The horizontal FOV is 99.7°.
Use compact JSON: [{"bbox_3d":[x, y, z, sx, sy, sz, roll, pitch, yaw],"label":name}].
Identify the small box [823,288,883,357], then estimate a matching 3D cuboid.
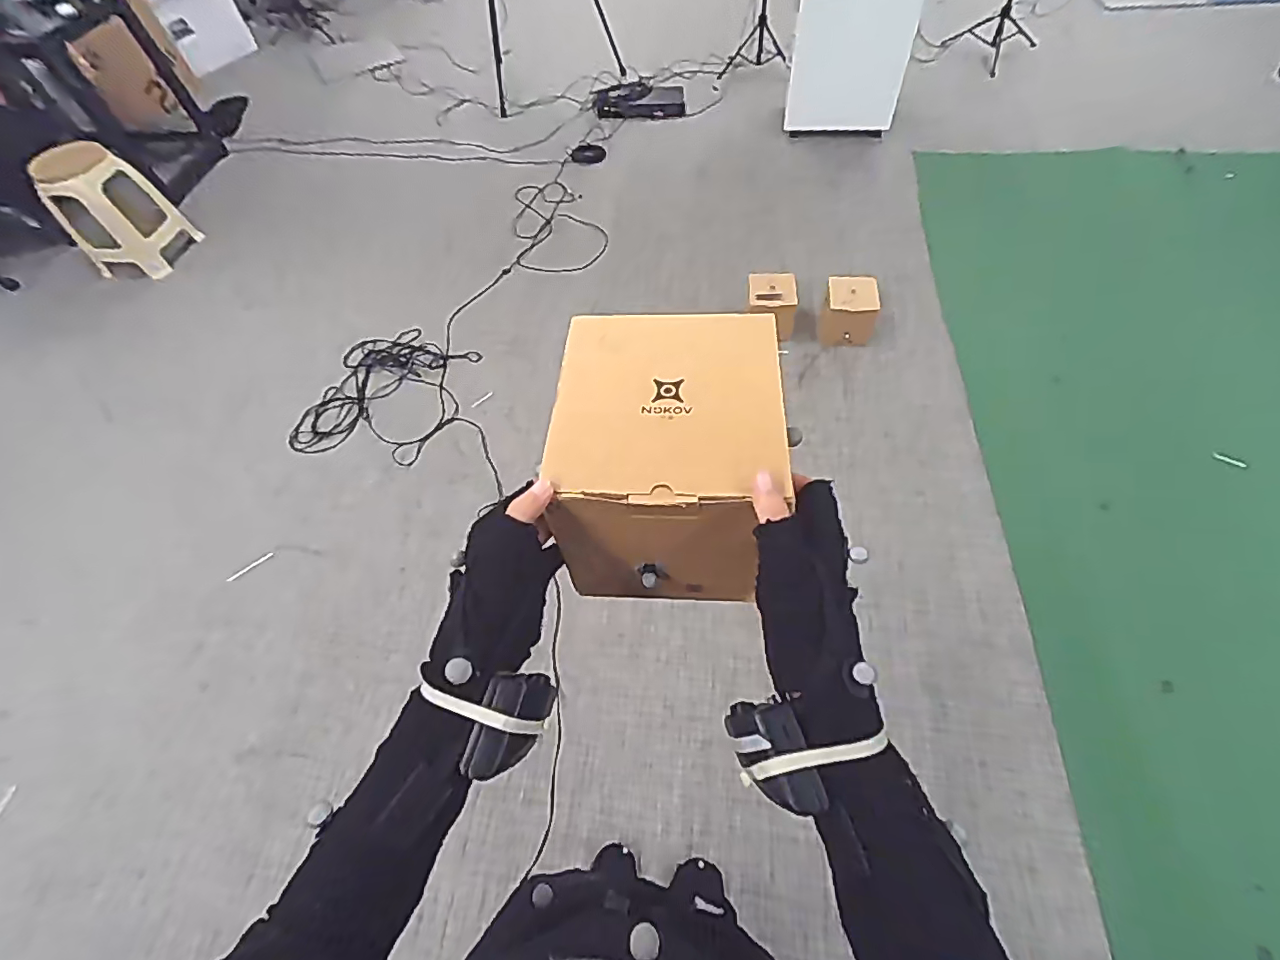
[{"bbox_3d":[0.766,-0.571,1.961,0.168,0.176,0.179,5,58,9],"label":"small box"}]
